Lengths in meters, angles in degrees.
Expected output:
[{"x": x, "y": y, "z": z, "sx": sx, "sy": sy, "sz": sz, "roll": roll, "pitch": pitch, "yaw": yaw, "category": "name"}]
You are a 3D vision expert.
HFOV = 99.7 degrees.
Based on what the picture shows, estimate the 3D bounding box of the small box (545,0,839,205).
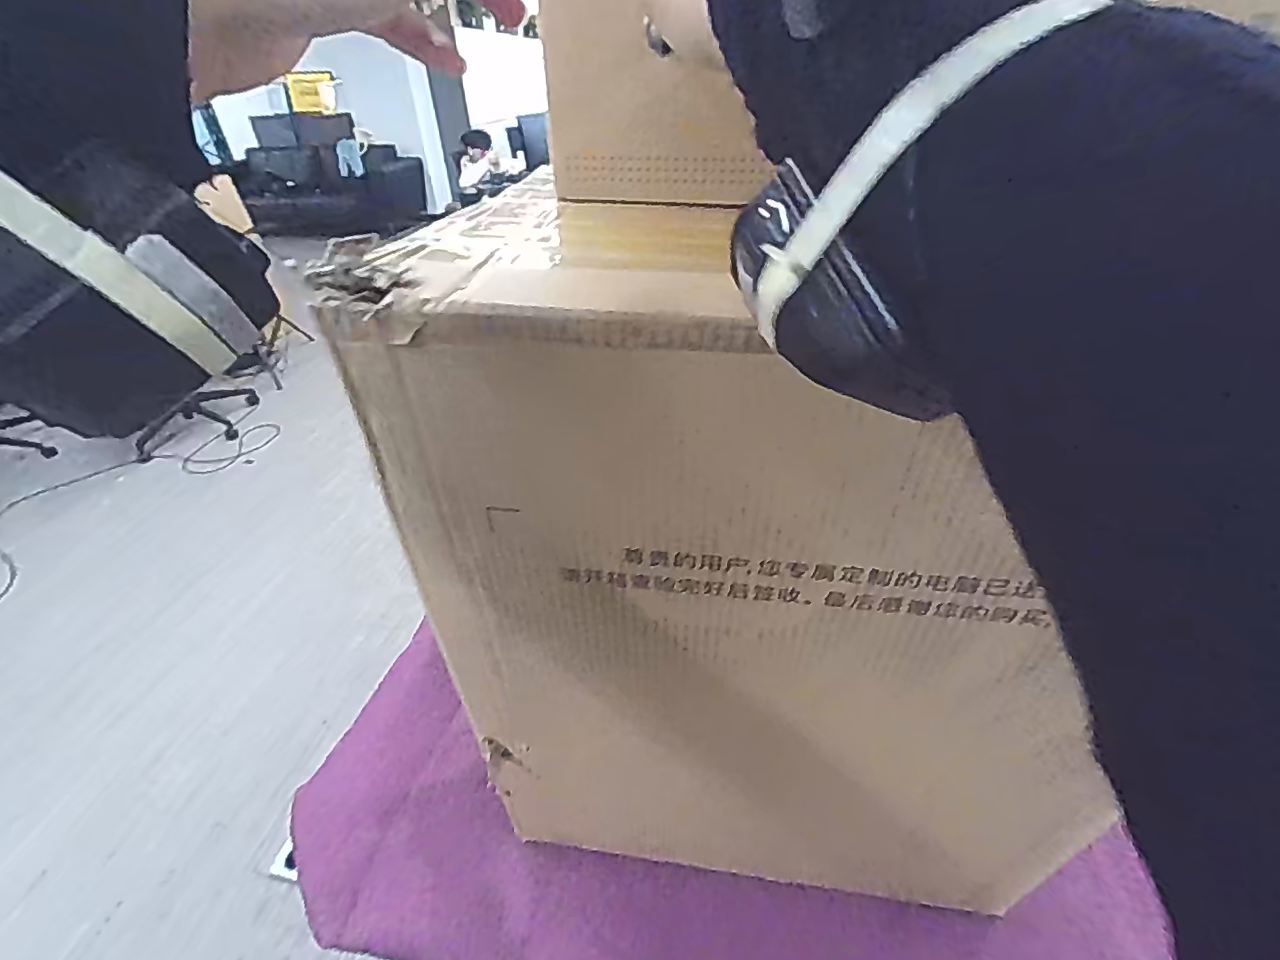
[{"x": 0.043, "y": -0.305, "z": 0.389, "sx": 0.179, "sy": 0.176, "sz": 0.168, "roll": 6, "pitch": 37, "yaw": 10, "category": "small box"}]
